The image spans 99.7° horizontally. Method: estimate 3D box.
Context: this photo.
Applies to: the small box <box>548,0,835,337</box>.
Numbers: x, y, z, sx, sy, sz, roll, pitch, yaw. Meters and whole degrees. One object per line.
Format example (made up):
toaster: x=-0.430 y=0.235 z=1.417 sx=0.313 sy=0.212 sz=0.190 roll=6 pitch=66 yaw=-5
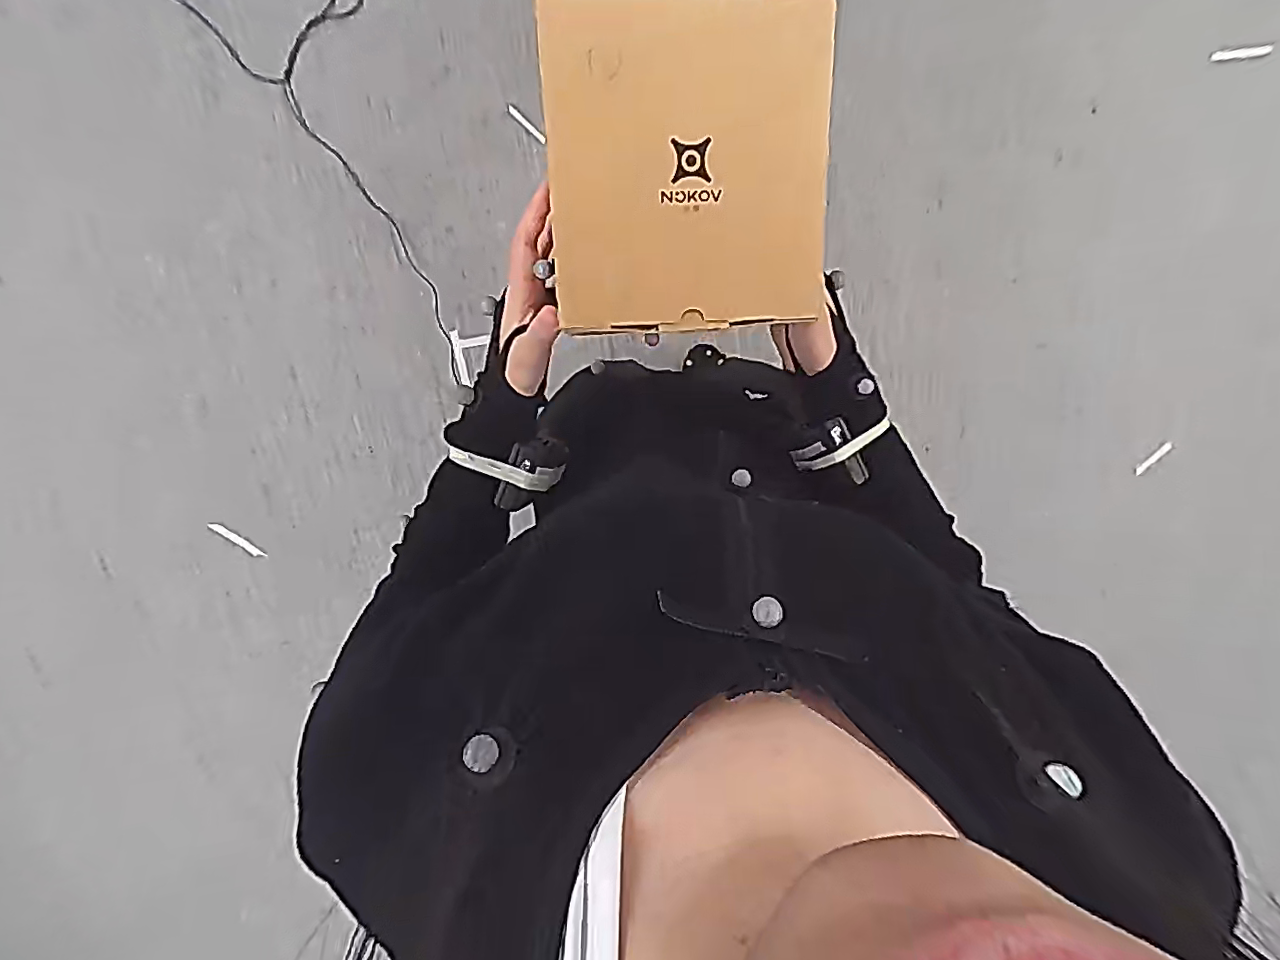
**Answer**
small box: x=0.022 y=-0.197 z=0.394 sx=0.168 sy=0.176 sz=0.179 roll=-3 pitch=106 yaw=-5
